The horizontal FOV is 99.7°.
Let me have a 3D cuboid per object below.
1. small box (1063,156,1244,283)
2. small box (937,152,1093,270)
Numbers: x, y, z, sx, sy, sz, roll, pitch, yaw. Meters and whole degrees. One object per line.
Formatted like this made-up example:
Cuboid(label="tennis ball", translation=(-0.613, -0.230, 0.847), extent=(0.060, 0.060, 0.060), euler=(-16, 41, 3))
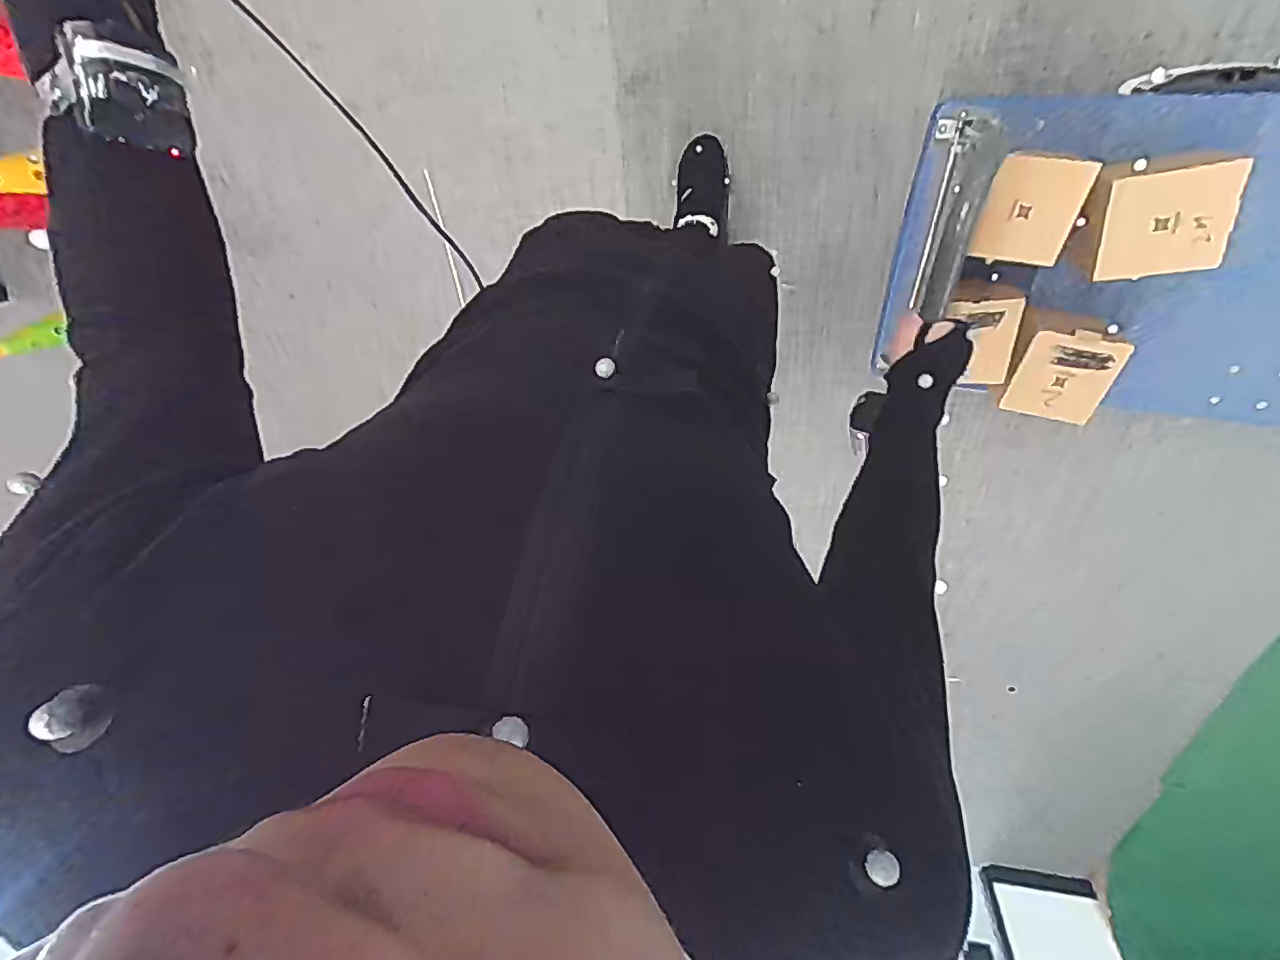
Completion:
Cuboid(label="small box", translation=(0.890, -0.463, 0.964), extent=(0.179, 0.176, 0.168), euler=(0, 124, 22))
Cuboid(label="small box", translation=(0.686, -0.512, 1.017), extent=(0.179, 0.176, 0.168), euler=(14, 127, 13))
